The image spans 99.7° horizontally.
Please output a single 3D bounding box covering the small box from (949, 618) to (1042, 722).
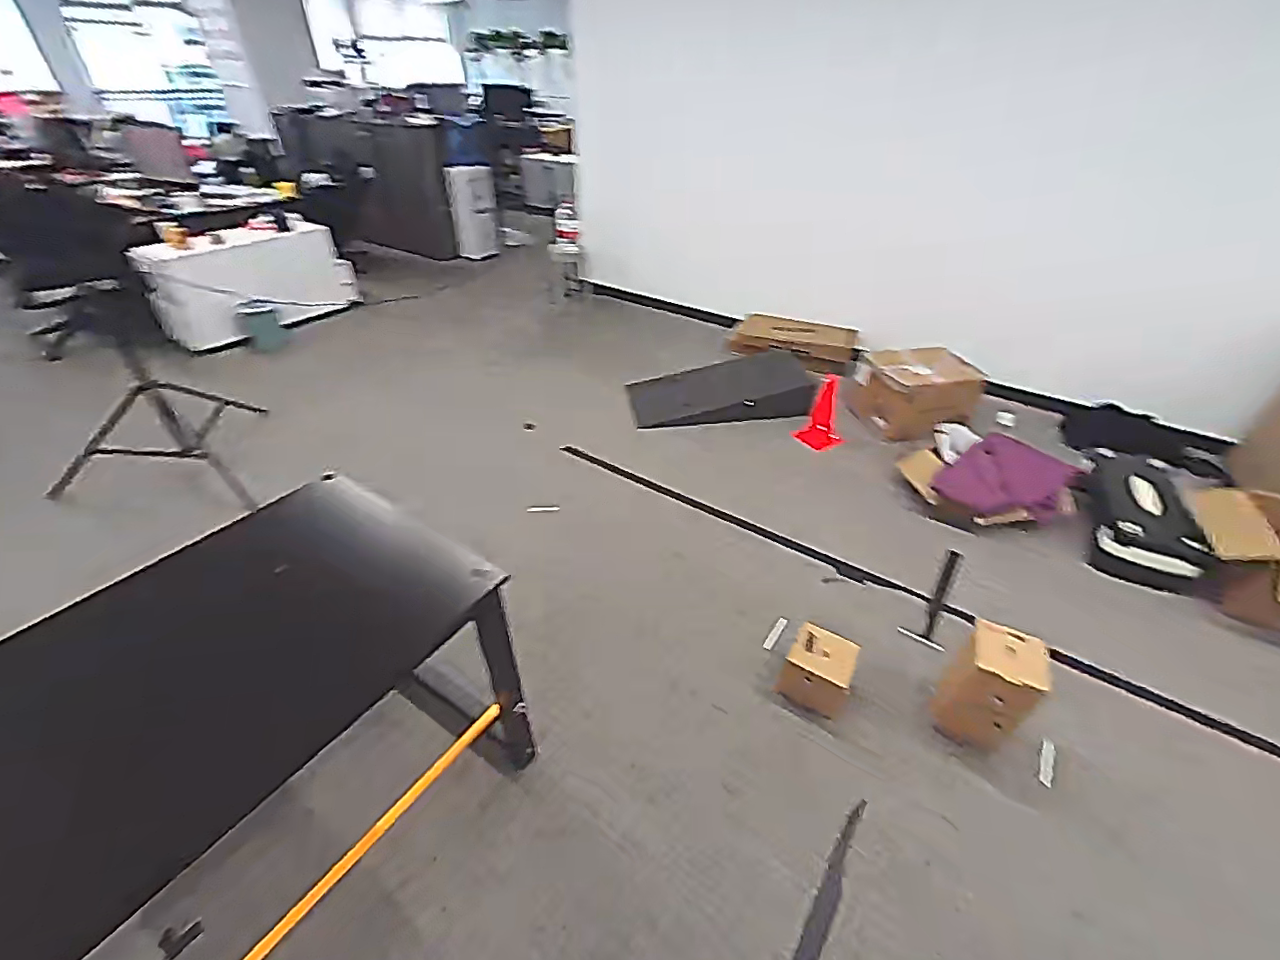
[{"bbox_3d":[0.958,0.518,1.466,0.168,0.176,0.179,18,41,21],"label":"small box"}]

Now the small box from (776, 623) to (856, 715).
[{"bbox_3d":[0.531,0.578,1.643,0.179,0.176,0.168,21,42,24],"label":"small box"}]

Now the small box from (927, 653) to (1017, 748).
[{"bbox_3d":[0.962,0.644,1.570,0.179,0.176,0.168,19,40,22],"label":"small box"}]
